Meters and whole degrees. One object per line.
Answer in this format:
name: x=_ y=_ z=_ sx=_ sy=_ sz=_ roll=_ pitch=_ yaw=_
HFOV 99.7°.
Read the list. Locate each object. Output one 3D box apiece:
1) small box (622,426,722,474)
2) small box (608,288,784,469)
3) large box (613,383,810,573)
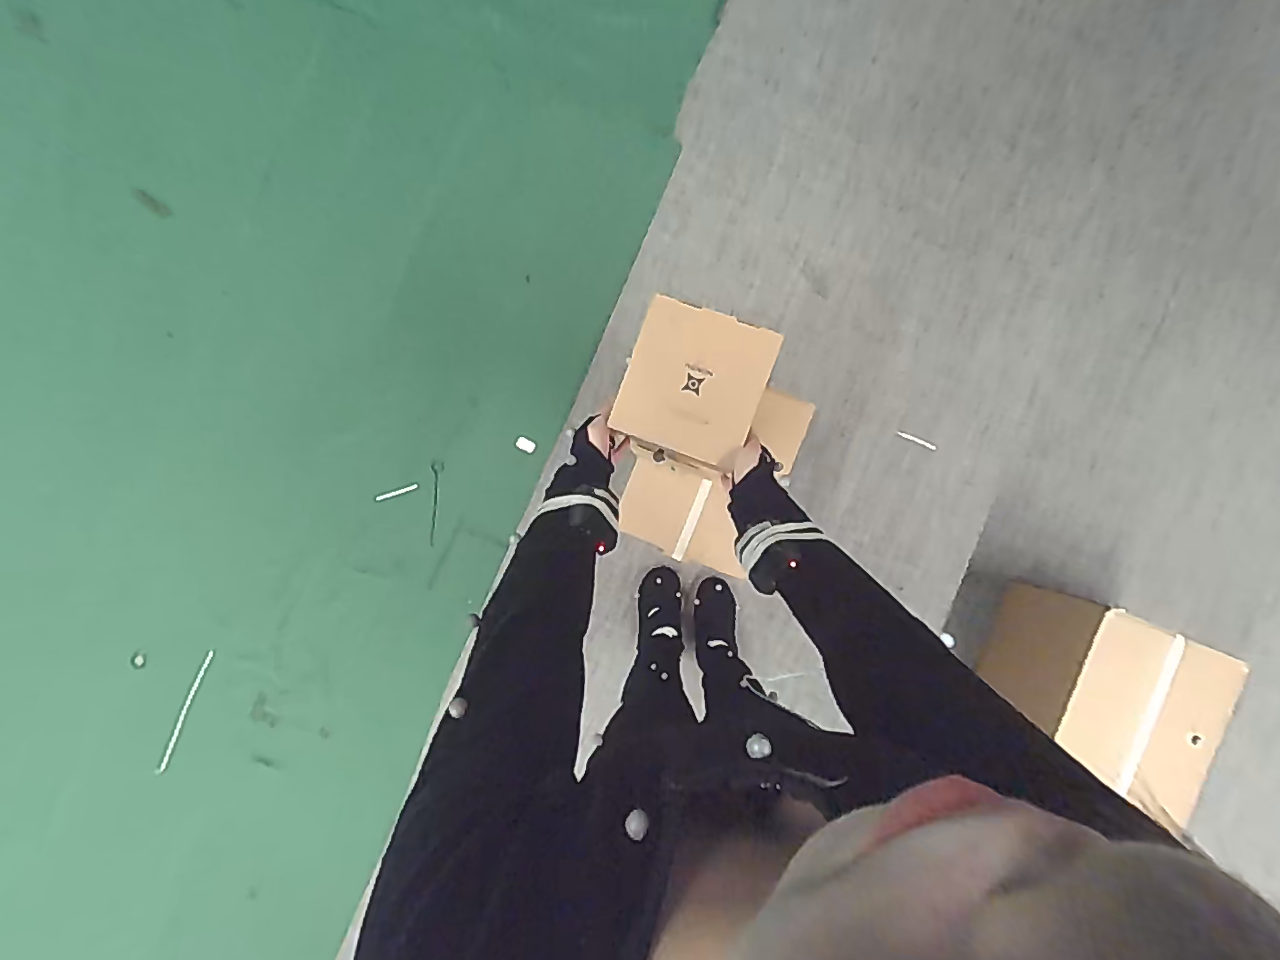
small box: x=0.082 y=-0.119 z=0.892 sx=0.168 sy=0.176 sz=0.179 roll=22 pitch=92 yaw=5
small box: x=0.073 y=-0.123 z=0.729 sx=0.168 sy=0.176 sz=0.179 roll=22 pitch=92 yaw=6
large box: x=0.159 y=-0.034 z=1.296 sx=0.320 sy=0.320 sz=0.408 roll=22 pitch=90 yaw=3
